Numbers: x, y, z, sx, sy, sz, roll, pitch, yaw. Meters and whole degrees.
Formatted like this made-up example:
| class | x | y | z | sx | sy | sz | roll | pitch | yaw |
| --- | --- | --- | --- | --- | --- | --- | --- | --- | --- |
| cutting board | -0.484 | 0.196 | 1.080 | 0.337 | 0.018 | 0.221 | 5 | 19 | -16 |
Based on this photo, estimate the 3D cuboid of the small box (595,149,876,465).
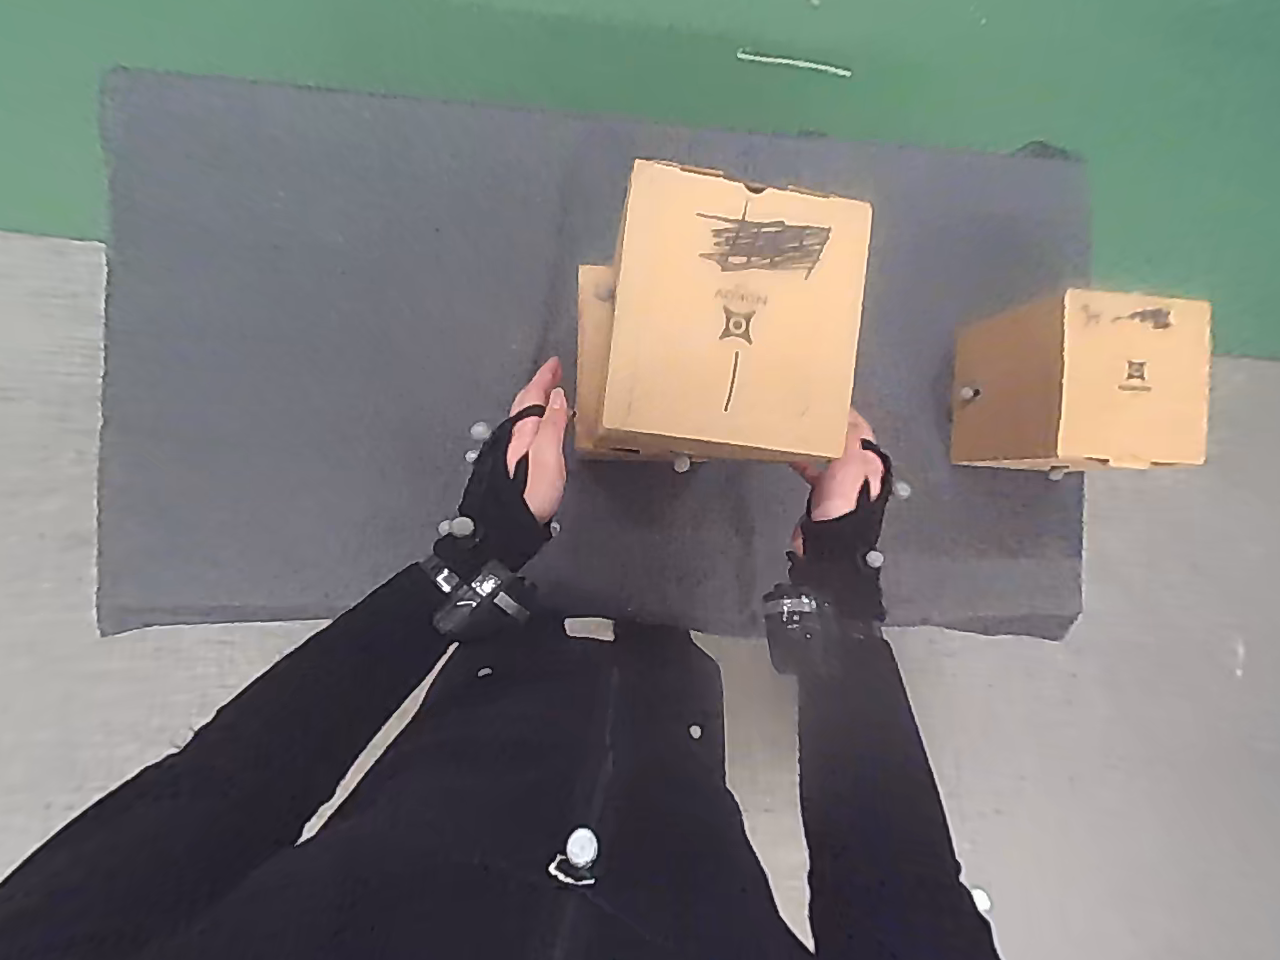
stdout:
| class | x | y | z | sx | sy | sz | roll | pitch | yaw |
| --- | --- | --- | --- | --- | --- | --- | --- | --- | --- |
| small box | 0.057 | -0.111 | 0.424 | 0.168 | 0.176 | 0.179 | 7 | 89 | -6 |

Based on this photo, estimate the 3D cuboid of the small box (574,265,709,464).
| class | x | y | z | sx | sy | sz | roll | pitch | yaw |
| --- | --- | --- | --- | --- | --- | --- | --- | --- | --- |
| small box | 0.014 | -0.109 | 0.585 | 0.168 | 0.176 | 0.179 | 1 | 87 | -7 |

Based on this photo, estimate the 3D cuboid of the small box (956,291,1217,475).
| class | x | y | z | sx | sy | sz | roll | pitch | yaw |
| --- | --- | --- | --- | --- | --- | --- | --- | --- | --- |
| small box | 0.498 | -0.098 | 0.628 | 0.168 | 0.176 | 0.179 | 4 | 89 | -5 |
